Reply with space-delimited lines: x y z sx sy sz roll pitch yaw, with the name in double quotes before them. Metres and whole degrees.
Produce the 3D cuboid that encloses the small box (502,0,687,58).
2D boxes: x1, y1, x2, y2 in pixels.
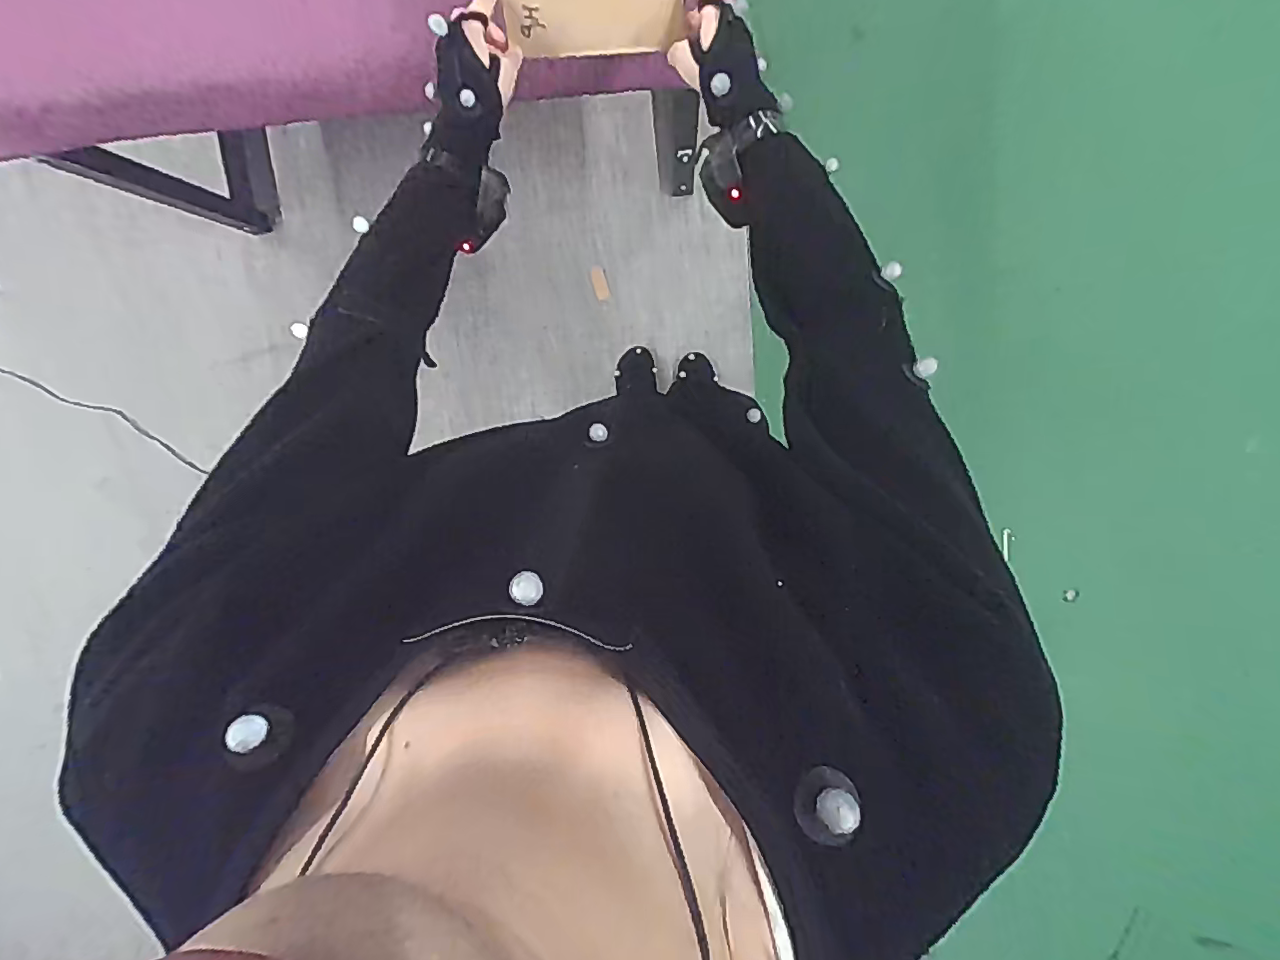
"small box" -0.049 -0.534 0.518 0.179 0.176 0.168 -4 143 -1
